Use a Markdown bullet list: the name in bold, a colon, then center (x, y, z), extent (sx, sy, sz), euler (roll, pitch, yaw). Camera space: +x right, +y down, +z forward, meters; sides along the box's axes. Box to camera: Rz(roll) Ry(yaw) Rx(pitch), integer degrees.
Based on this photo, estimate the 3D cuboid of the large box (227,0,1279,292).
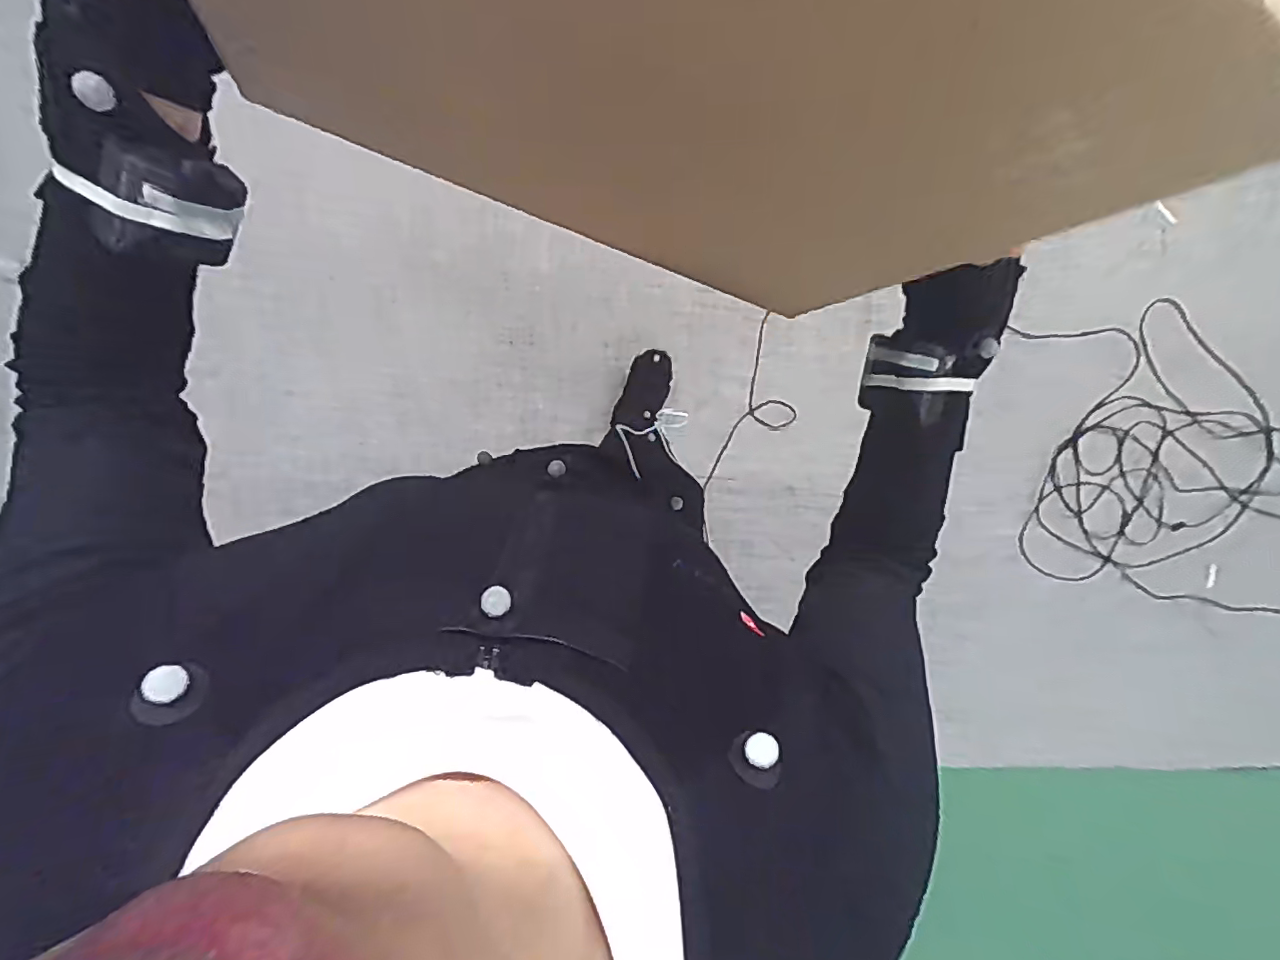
- **large box**: center (0.041, -0.330, 0.249), extent (0.408, 0.320, 0.320), euler (13, 91, -22)
